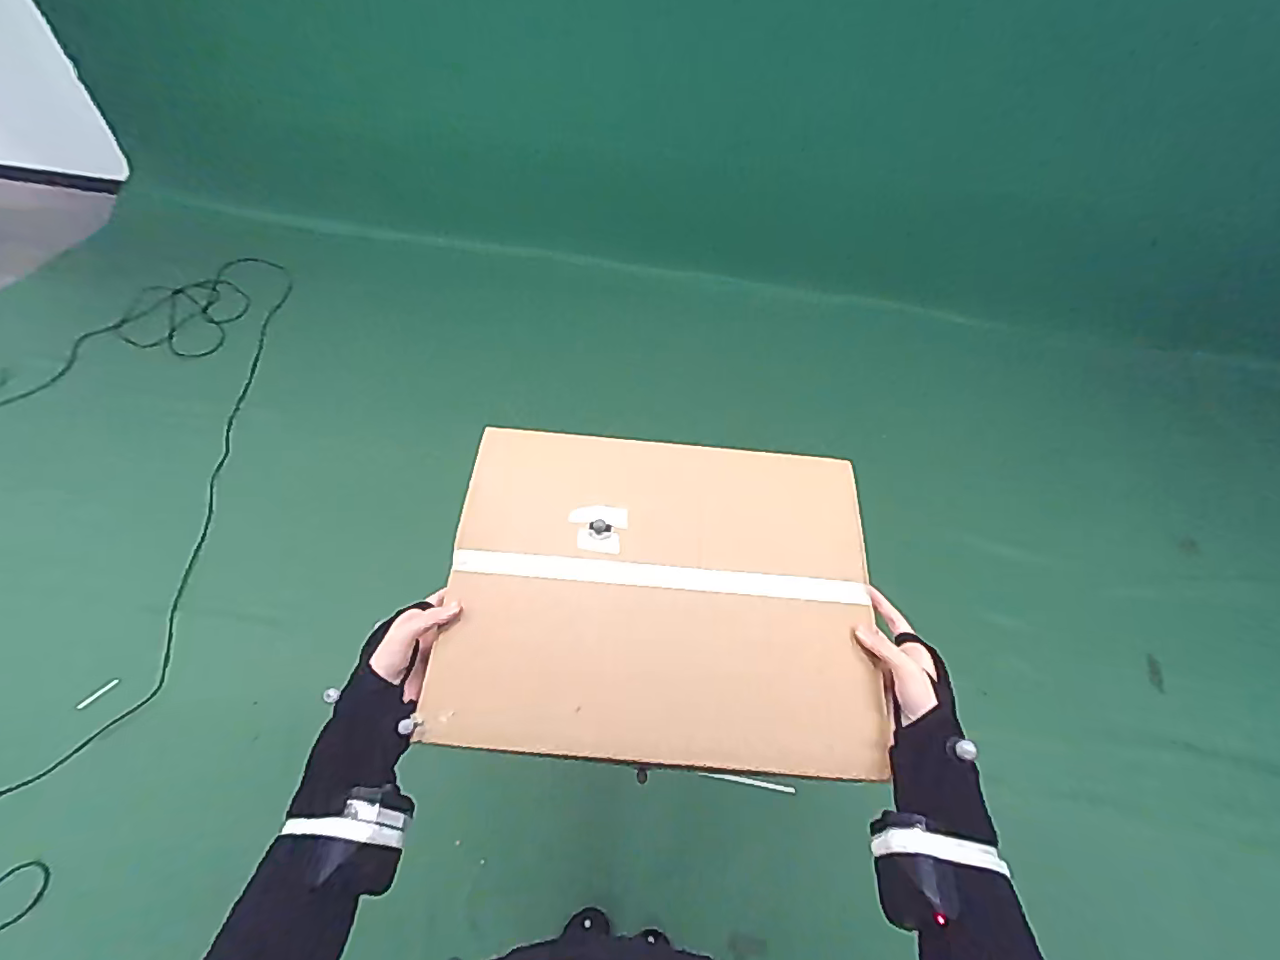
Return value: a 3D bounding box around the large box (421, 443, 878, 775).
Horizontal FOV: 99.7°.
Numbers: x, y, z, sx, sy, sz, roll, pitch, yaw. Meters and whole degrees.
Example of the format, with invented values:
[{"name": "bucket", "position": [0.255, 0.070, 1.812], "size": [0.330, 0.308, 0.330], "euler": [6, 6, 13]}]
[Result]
[{"name": "large box", "position": [0.013, 0.174, 0.665], "size": [0.408, 0.320, 0.320], "euler": [4, 61, 0]}]
